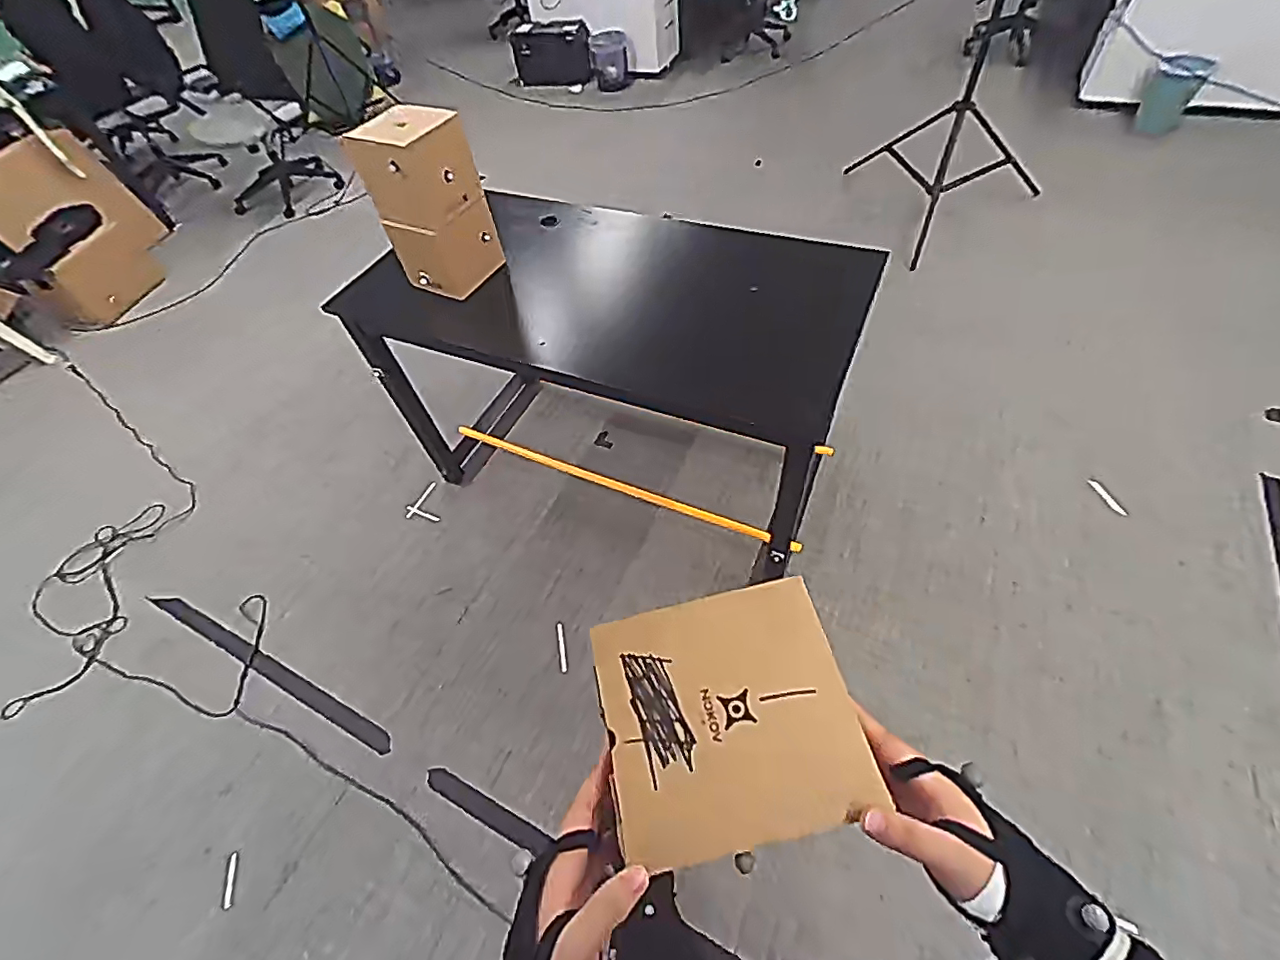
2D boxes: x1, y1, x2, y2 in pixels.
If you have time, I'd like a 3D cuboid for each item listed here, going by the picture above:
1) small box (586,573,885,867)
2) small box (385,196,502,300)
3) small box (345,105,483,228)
[{"bbox_3d":[0.067,0.201,0.451,0.179,0.176,0.168,-14,59,-1],"label":"small box"},{"bbox_3d":[-0.447,-0.555,1.271,0.168,0.176,0.179,20,60,21],"label":"small box"},{"bbox_3d":[-0.465,-0.659,1.143,0.179,0.176,0.168,21,58,21],"label":"small box"}]
